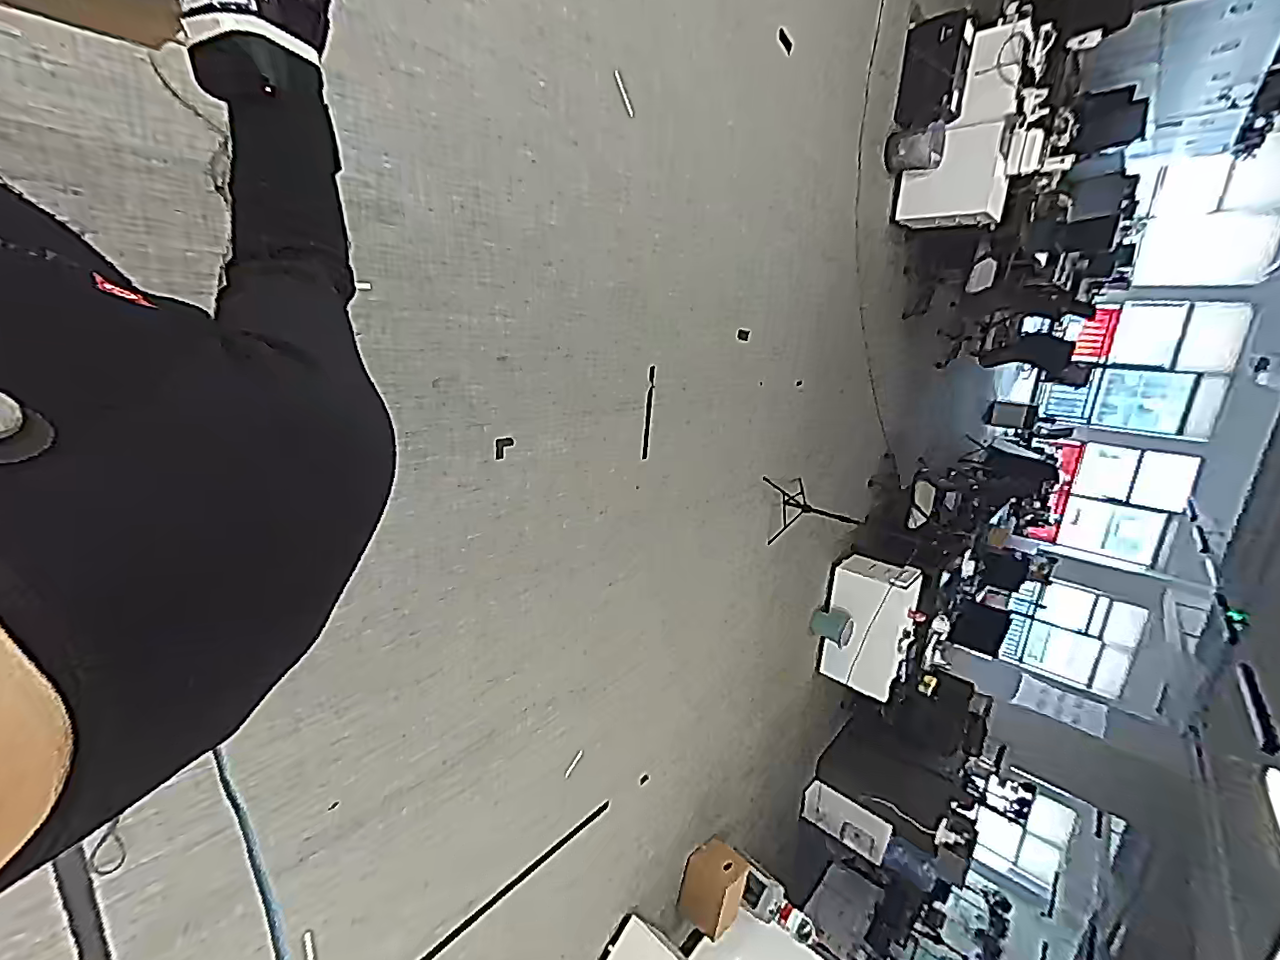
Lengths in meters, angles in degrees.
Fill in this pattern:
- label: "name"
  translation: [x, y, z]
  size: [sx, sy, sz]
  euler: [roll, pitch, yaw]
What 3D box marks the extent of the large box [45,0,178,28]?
- label: "large box"
  translation: [-0.505, -0.501, 0.262]
  size: [0.408, 0.320, 0.320]
  euler: [-15, 123, -45]
